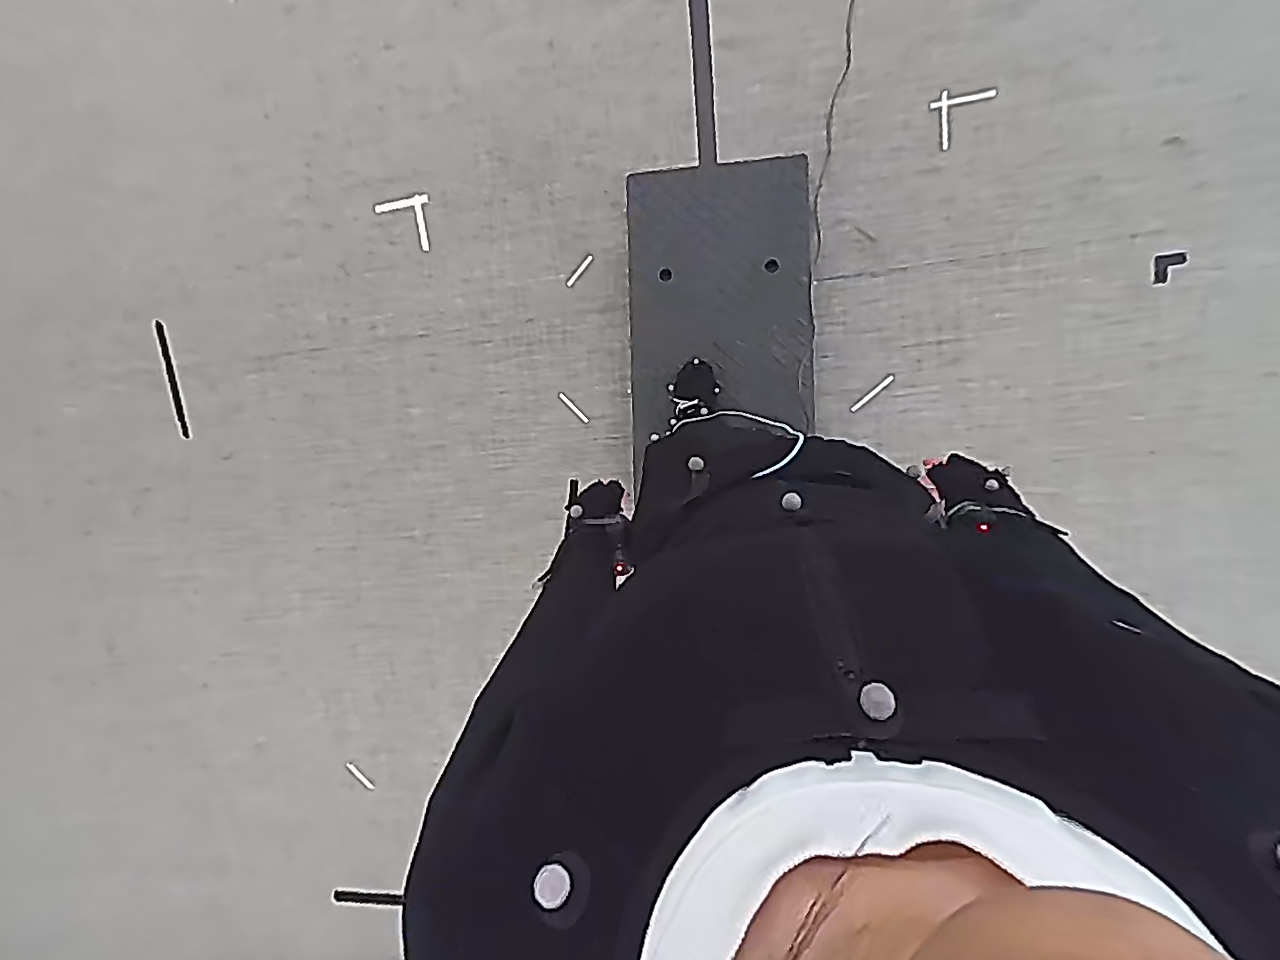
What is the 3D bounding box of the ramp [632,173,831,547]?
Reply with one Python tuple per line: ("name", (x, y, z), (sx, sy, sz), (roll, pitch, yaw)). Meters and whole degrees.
("ramp", (0.237, -0.322, 1.481), (0.509, 0.206, 0.991), (-5, 97, 11))
